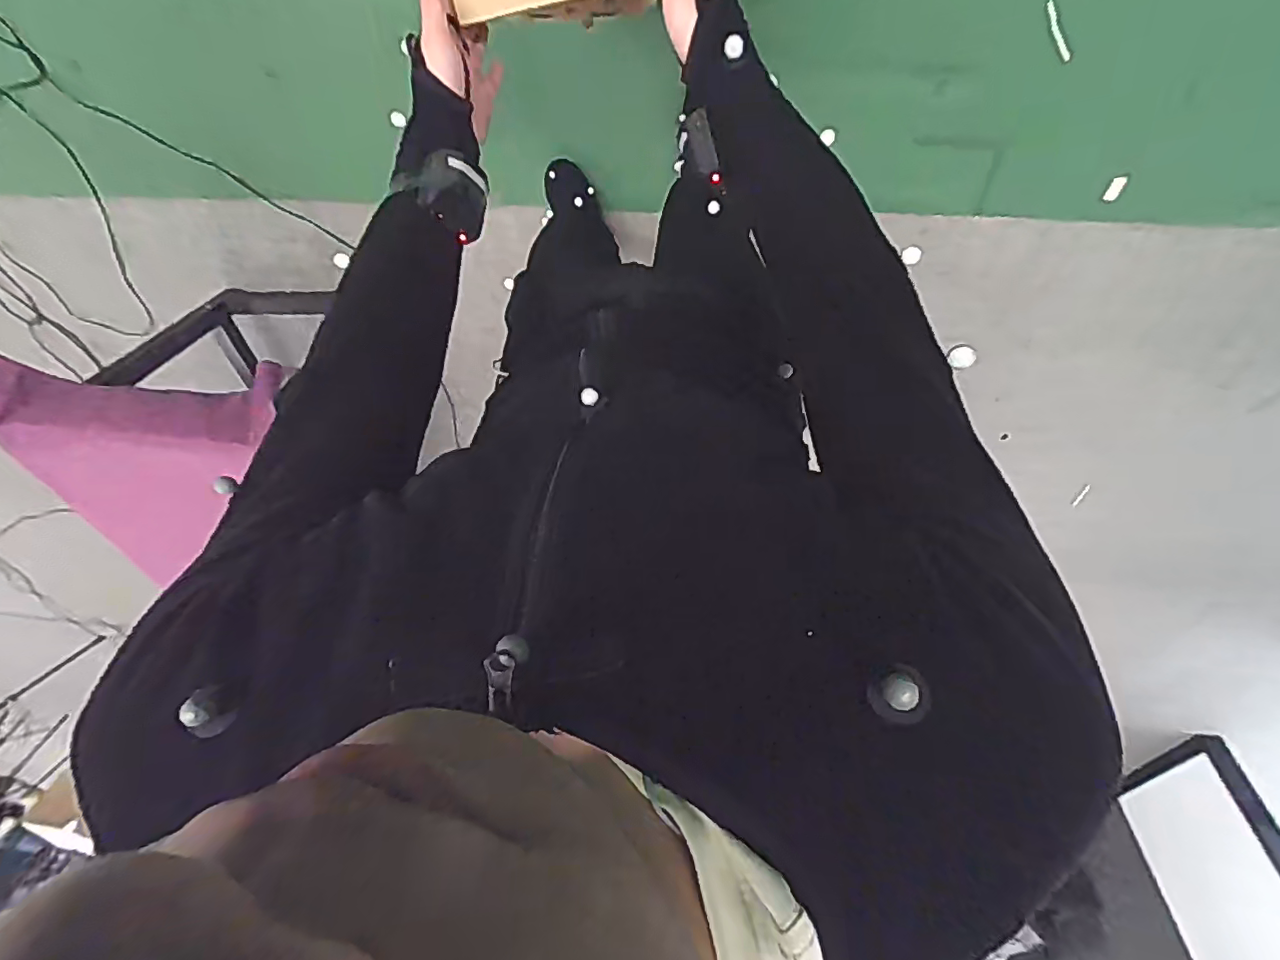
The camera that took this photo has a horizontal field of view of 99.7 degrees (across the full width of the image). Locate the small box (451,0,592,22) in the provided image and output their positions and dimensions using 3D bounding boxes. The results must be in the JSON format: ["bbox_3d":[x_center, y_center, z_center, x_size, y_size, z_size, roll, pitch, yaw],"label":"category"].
[{"bbox_3d":[-0.086,-0.540,0.488,0.179,0.176,0.168,-1,132,12],"label":"small box"}]

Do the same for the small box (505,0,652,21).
[{"bbox_3d":[-0.069,-0.645,0.613,0.168,0.176,0.179,4,135,6],"label":"small box"}]
